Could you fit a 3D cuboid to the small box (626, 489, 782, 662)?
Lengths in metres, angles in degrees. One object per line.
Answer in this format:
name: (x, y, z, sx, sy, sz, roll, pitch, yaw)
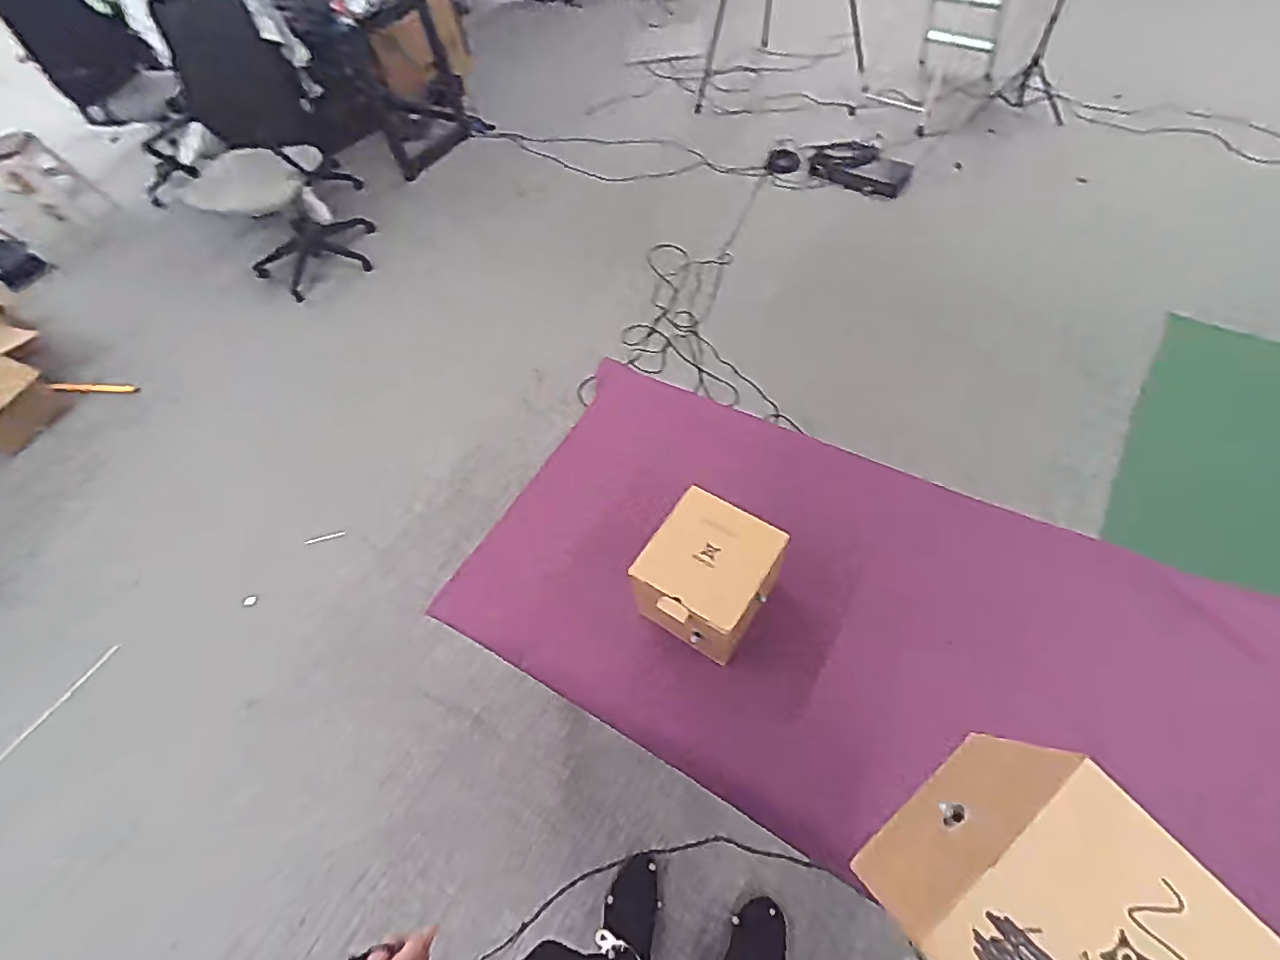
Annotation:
small box: (0.101, 0.154, 0.843, 0.168, 0.176, 0.179, 29, 64, 22)
